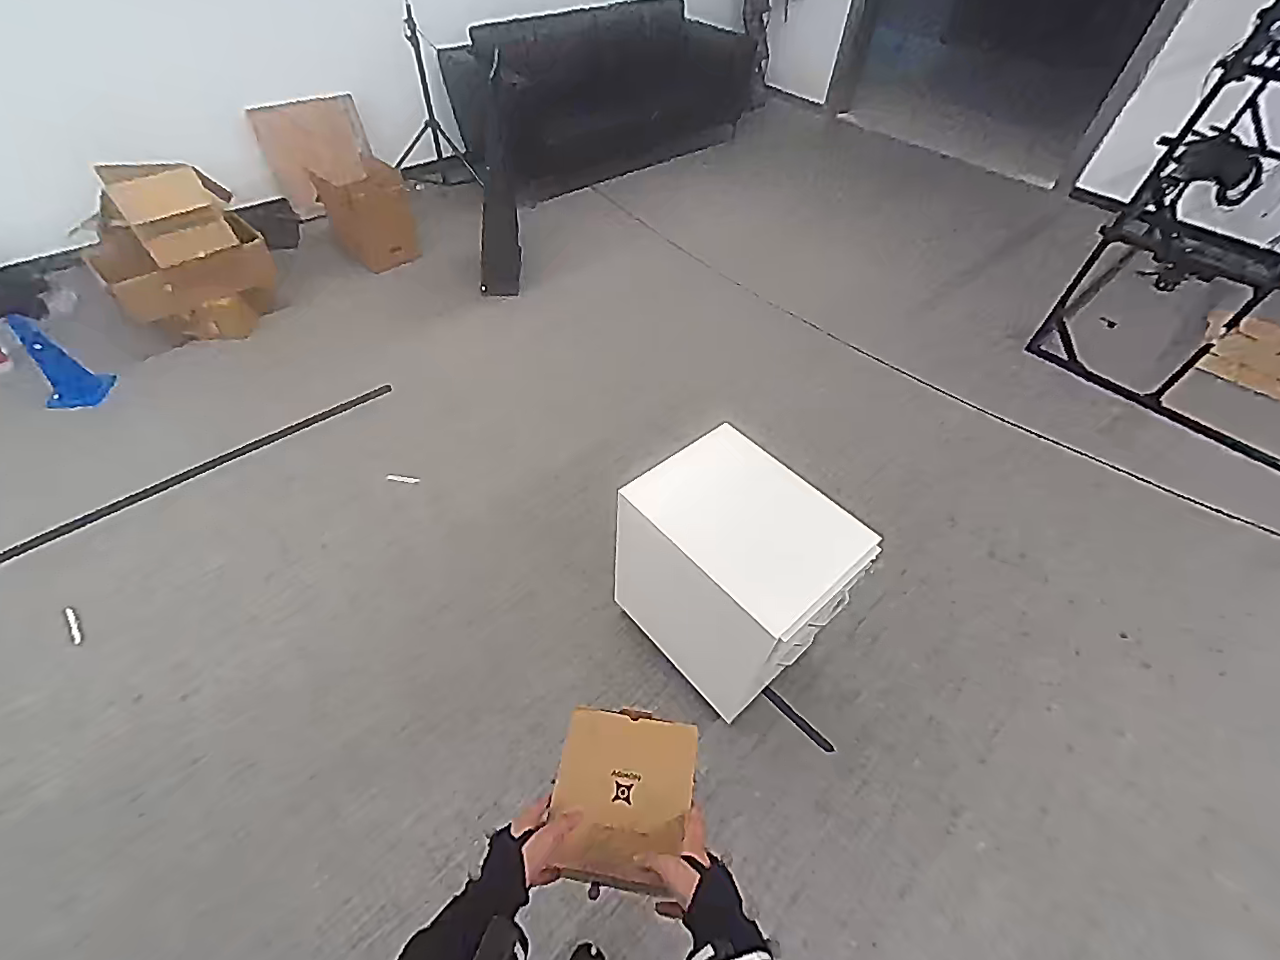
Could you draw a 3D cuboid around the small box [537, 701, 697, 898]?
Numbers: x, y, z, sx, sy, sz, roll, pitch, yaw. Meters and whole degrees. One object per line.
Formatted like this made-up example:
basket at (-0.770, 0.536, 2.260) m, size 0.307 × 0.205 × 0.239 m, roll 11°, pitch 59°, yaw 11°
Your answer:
small box at (-0.025, 0.417, 0.704) m, size 0.168 × 0.176 × 0.179 m, roll 9°, pitch 50°, yaw 5°
